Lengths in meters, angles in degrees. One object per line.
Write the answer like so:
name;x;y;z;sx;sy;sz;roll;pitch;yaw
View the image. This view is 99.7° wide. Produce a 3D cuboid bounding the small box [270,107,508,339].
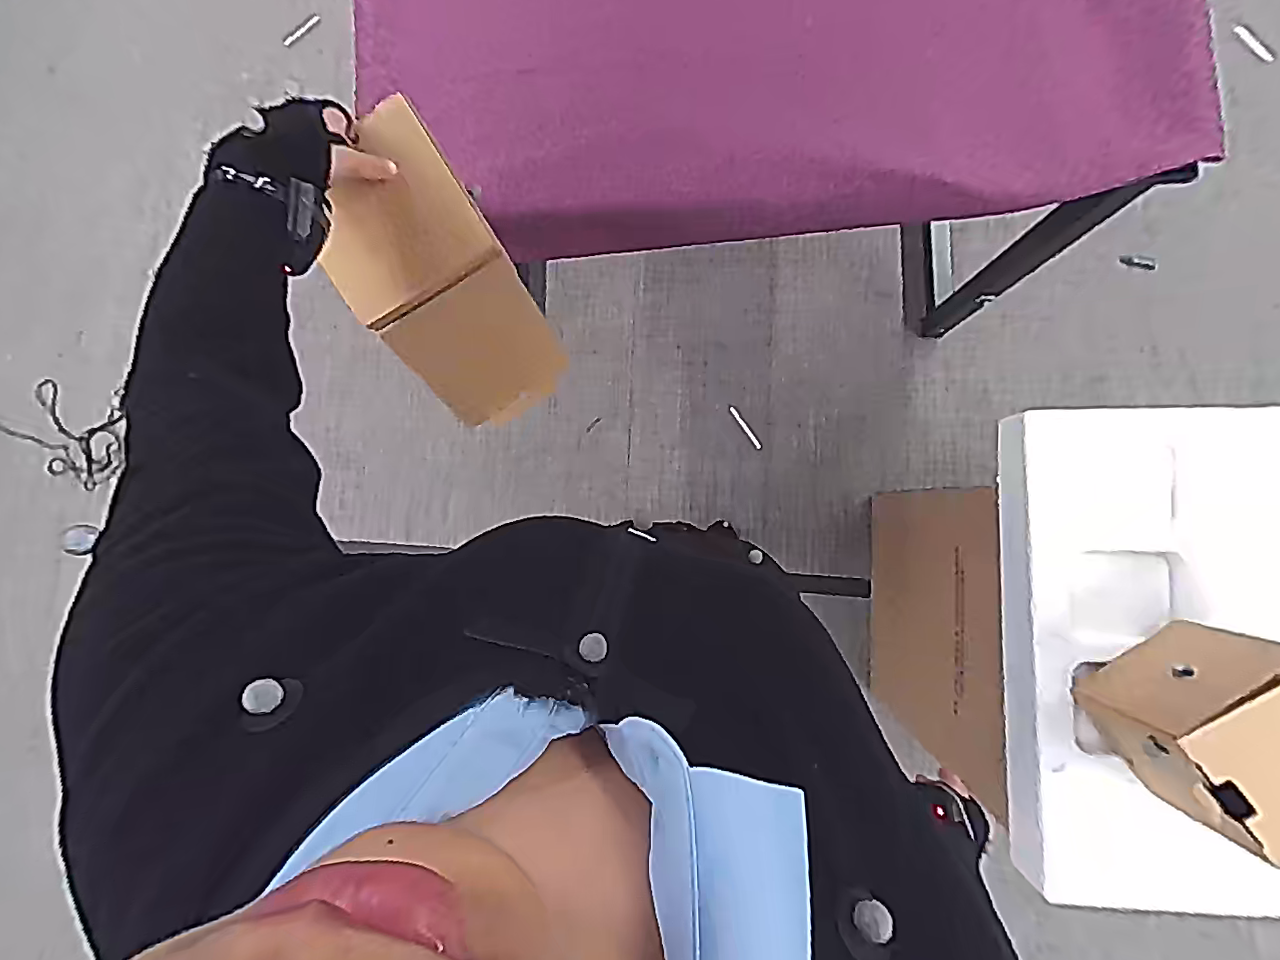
small box;-0.273;-0.283;0.641;0.168;0.176;0.179;-31;104;-2
